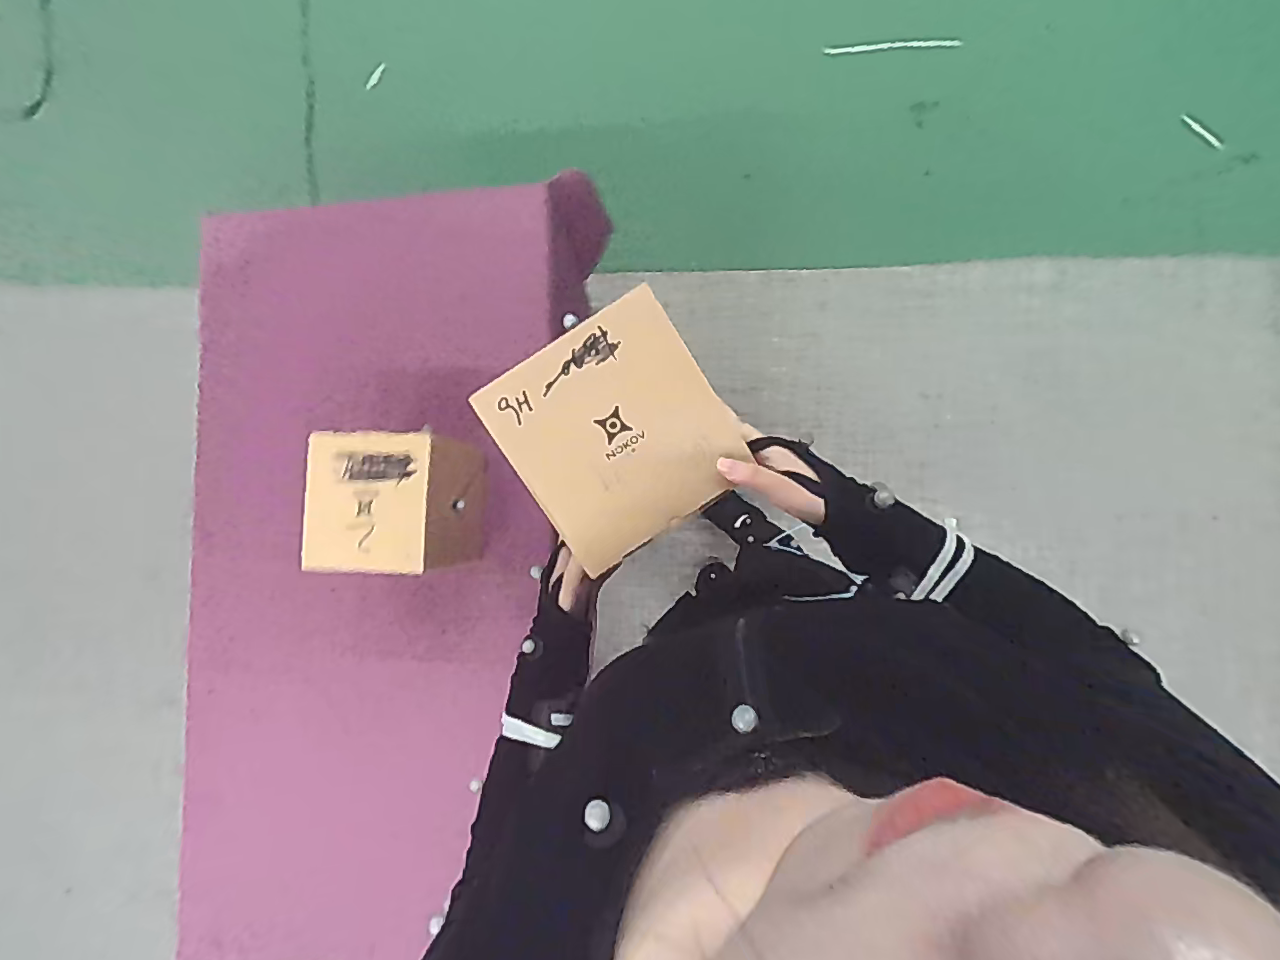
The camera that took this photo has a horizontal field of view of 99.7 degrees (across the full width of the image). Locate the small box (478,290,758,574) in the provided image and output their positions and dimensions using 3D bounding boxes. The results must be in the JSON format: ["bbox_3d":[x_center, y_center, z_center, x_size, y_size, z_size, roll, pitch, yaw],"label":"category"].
[{"bbox_3d":[-0.018,-0.046,0.507,0.168,0.176,0.179,-32,98,0],"label":"small box"}]
